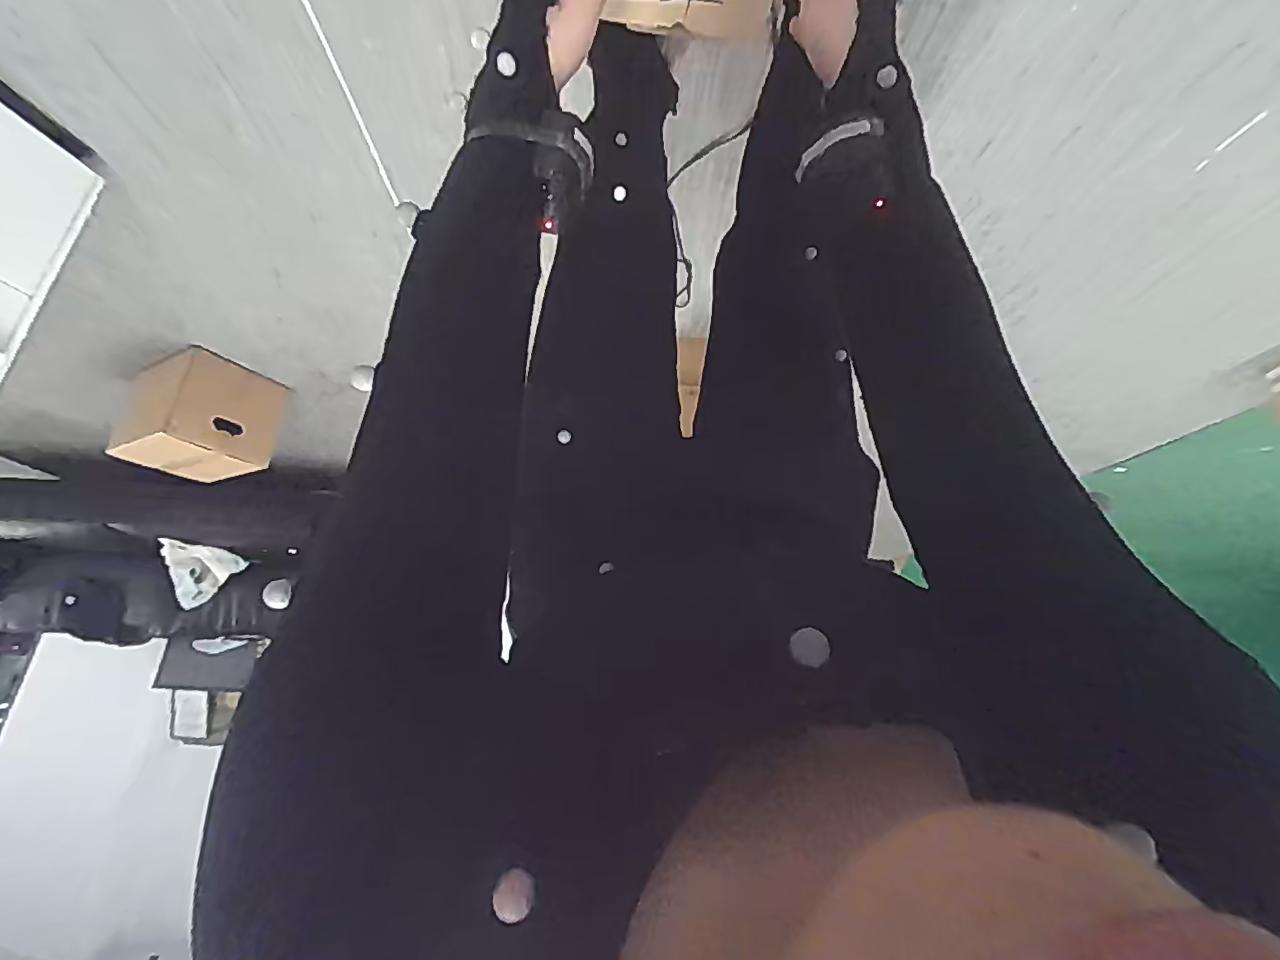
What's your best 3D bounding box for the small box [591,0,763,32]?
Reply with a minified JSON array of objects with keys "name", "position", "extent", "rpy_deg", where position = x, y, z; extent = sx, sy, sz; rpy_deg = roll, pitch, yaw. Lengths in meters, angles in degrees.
[{"name":"small box","position":[0.047,-0.549,0.470],"extent":[0.168,0.176,0.179],"rpy_deg":[5,158,-5]}]
